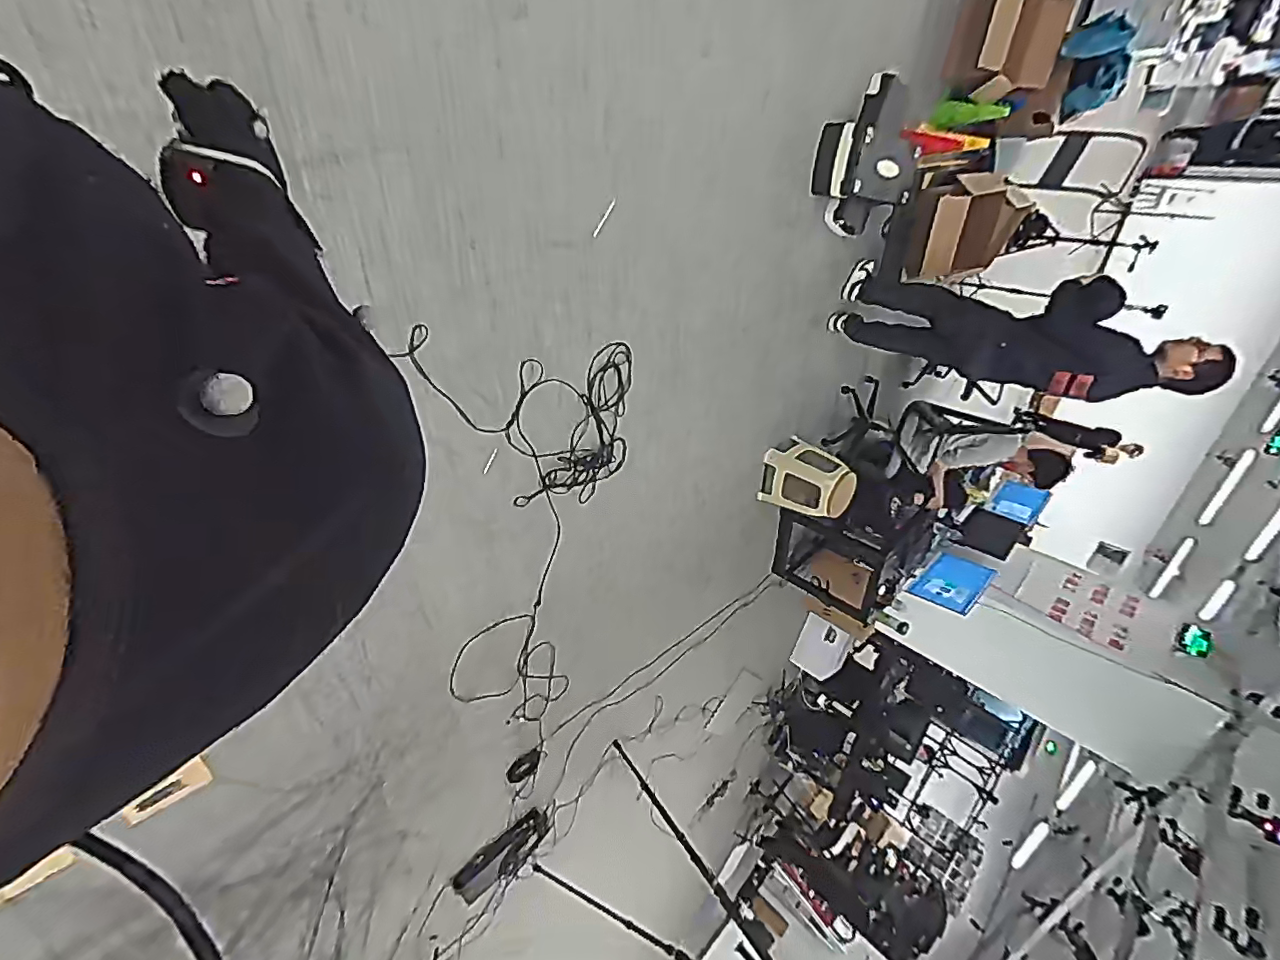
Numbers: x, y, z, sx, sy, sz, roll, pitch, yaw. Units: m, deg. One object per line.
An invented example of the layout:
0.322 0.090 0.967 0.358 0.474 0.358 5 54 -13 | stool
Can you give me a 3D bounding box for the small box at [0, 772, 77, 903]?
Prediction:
-1.389 0.782 1.182 0.168 0.176 0.179 -26 130 -36 | small box
